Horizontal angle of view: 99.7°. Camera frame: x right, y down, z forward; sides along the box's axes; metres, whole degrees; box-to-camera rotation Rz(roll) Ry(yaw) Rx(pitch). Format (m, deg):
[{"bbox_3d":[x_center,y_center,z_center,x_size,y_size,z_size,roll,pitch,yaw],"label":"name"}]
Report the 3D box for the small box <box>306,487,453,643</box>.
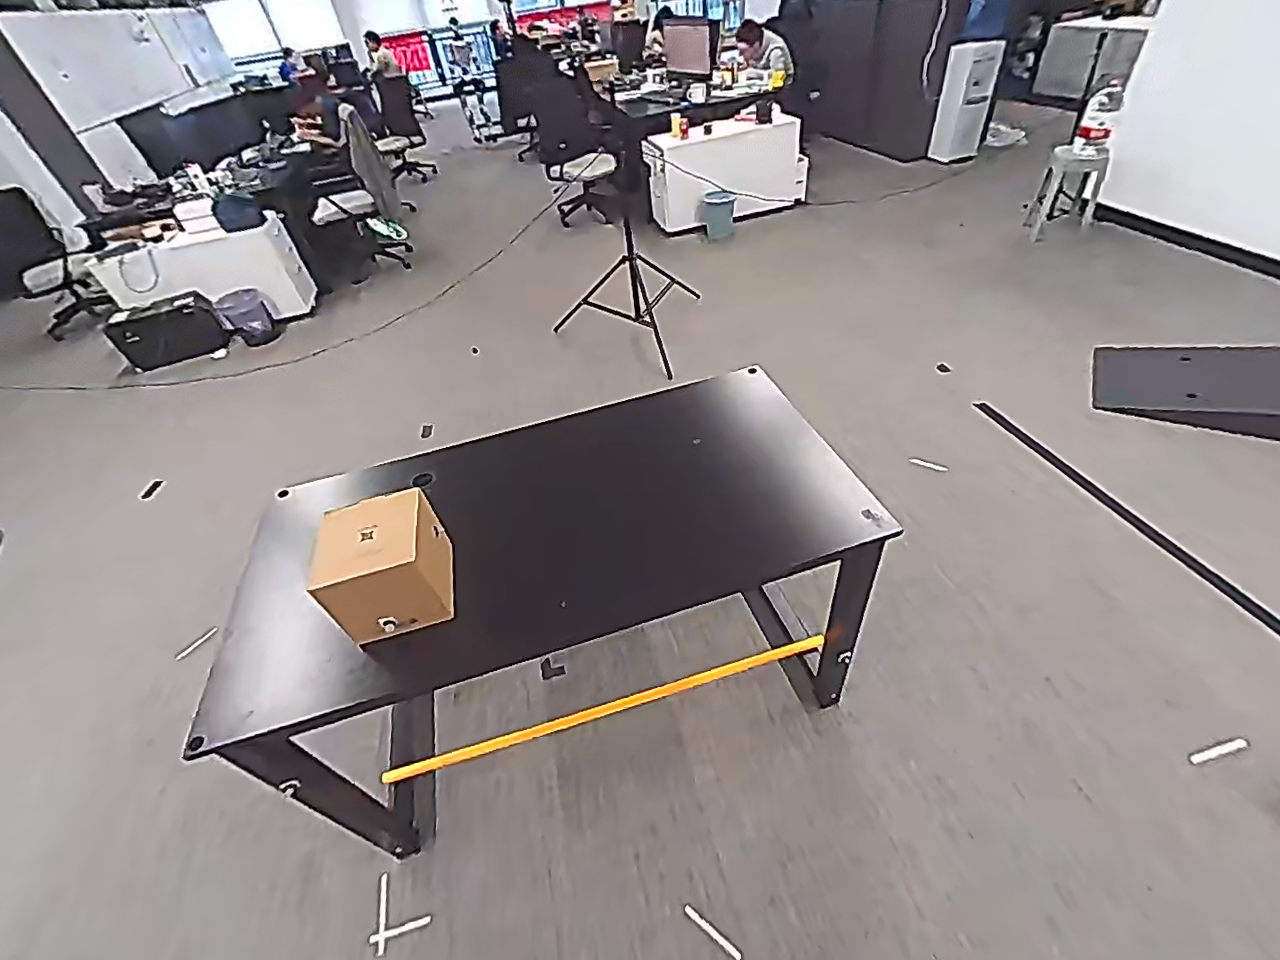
[{"bbox_3d":[-0.429,0.145,0.923,0.168,0.176,0.179,-17,44,-6],"label":"small box"}]
